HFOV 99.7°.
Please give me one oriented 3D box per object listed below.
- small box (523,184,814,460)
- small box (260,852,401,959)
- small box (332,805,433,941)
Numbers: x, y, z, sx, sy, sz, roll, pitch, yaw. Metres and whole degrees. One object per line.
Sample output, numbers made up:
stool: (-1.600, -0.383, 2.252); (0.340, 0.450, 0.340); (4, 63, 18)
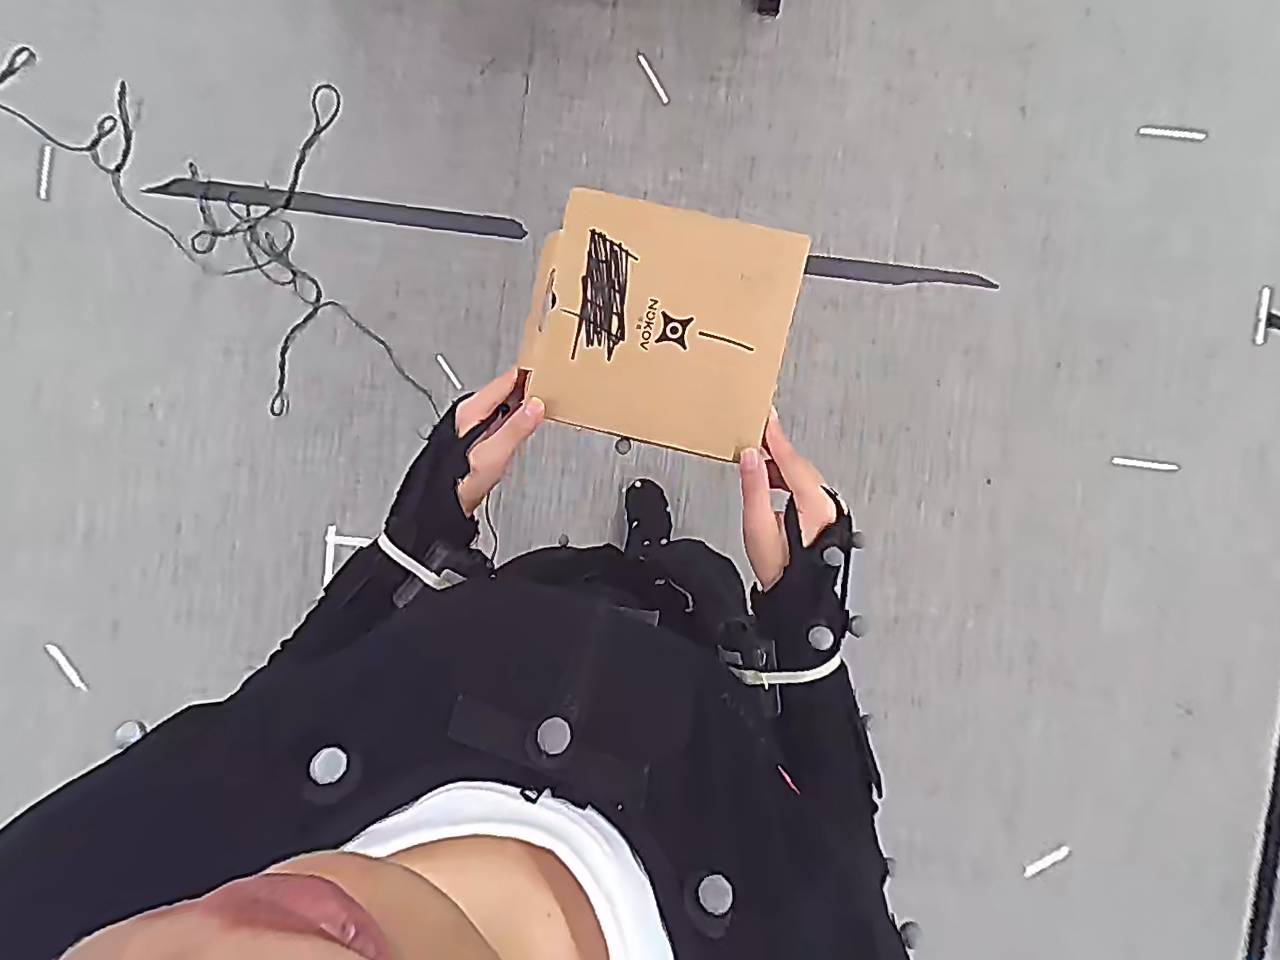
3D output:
small box: (0.022, -0.114, 0.458); (0.179, 0.176, 0.168); (13, 94, 2)
small box: (-0.612, 0.887, 1.076); (0.179, 0.176, 0.168); (14, 91, 1)
small box: (-0.594, 0.887, 1.238); (0.168, 0.176, 0.179); (11, 91, 2)
